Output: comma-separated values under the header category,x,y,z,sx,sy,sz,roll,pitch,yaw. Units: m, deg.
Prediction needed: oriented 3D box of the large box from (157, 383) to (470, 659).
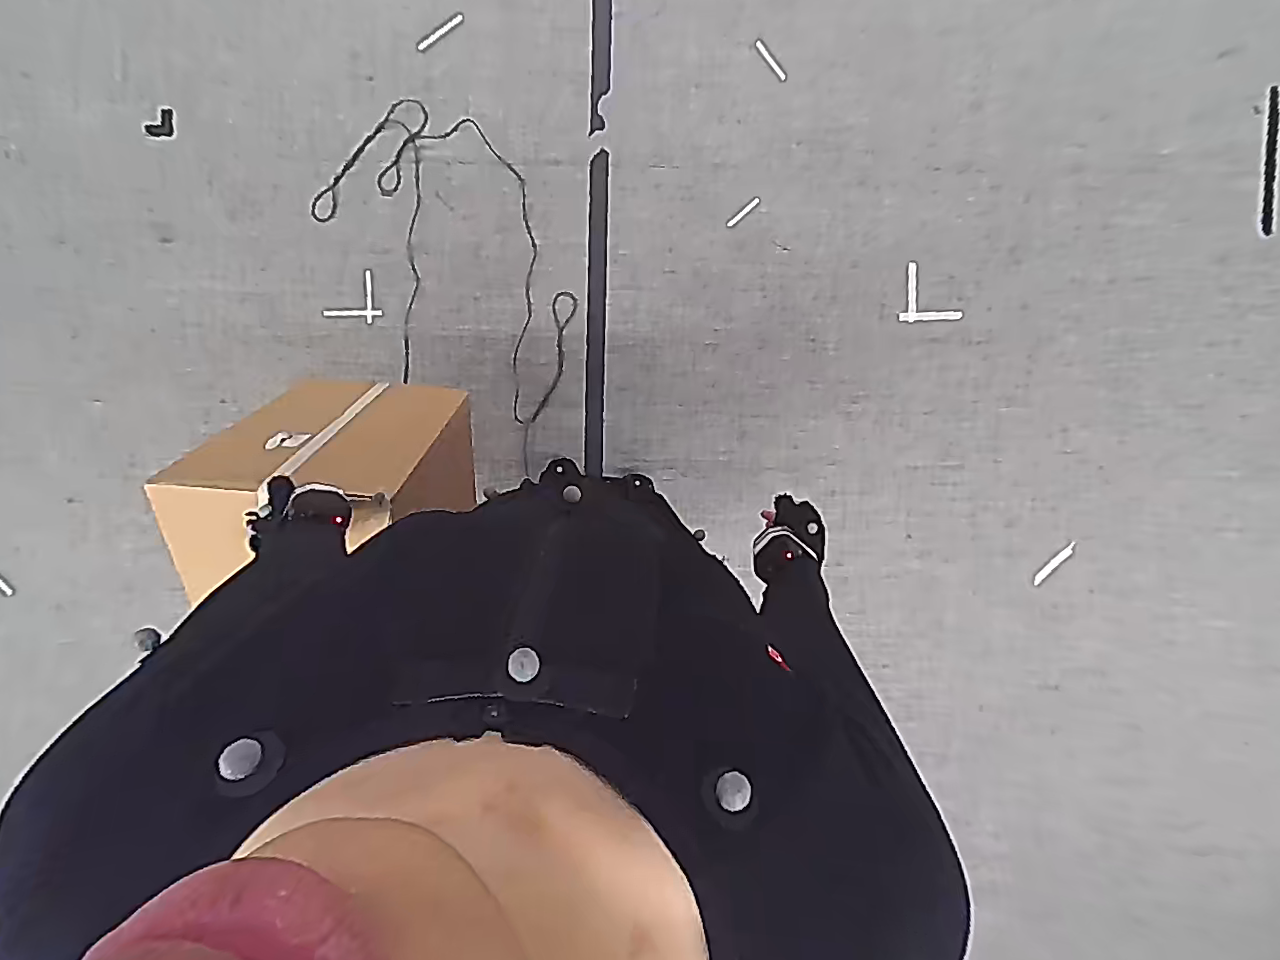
category,x,y,z,sx,sy,sz,roll,pitch,yaw
large box,-0.503,0.052,0.957,0.320,0.408,0.320,3,120,-4
